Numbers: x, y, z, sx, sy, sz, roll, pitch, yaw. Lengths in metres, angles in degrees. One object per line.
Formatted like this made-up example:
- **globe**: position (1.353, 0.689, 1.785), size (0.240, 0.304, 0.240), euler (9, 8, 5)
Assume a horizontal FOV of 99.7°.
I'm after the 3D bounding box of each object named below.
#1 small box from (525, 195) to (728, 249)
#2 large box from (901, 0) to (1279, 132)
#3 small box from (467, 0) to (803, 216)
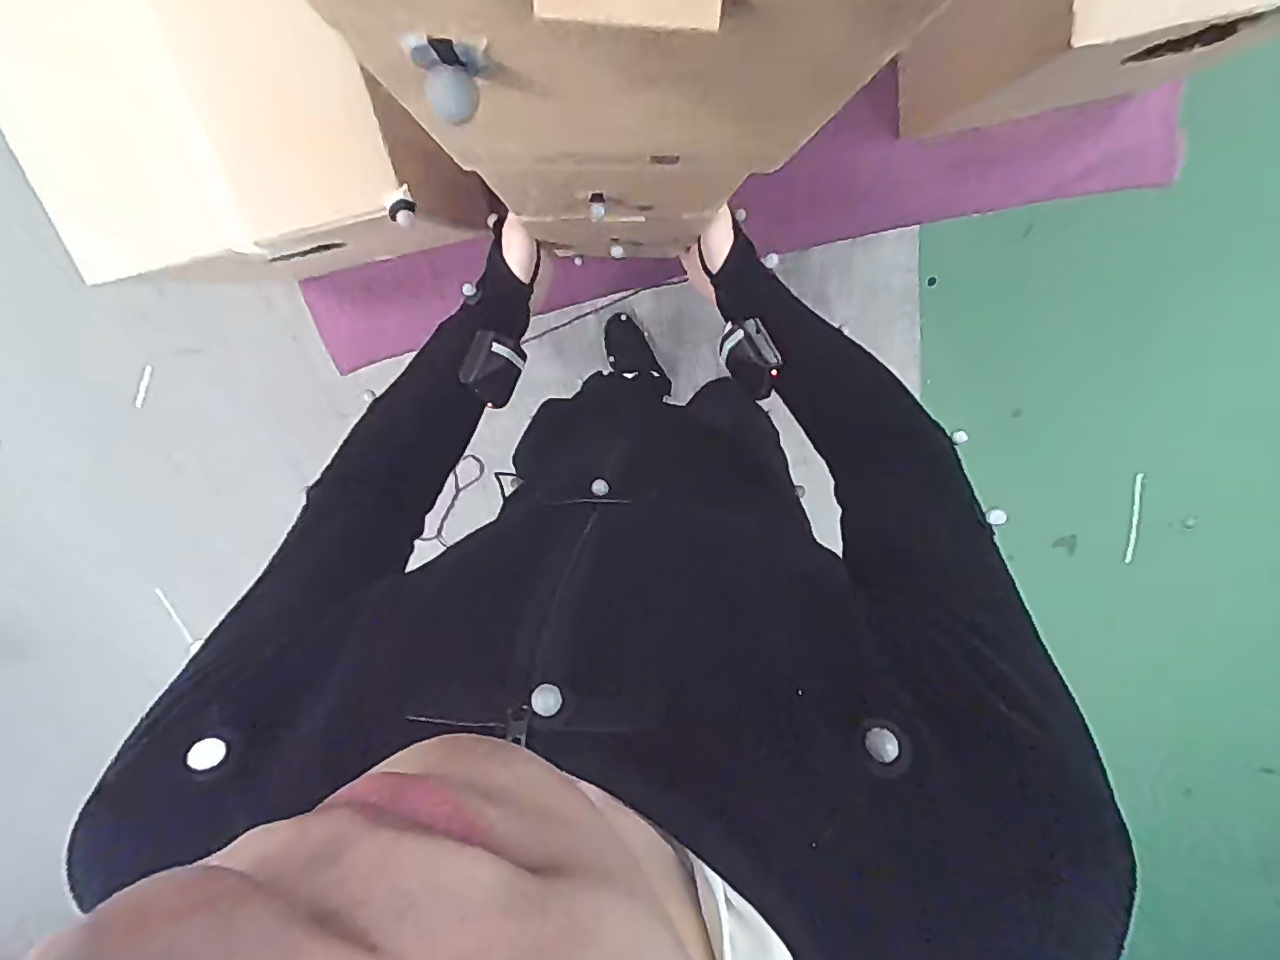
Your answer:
- **small box**: position (-0.016, -0.315, 0.487), size (0.168, 0.176, 0.179), euler (-3, 107, -2)
- **large box**: position (0.454, -0.610, 0.492), size (0.320, 0.320, 0.408), euler (-11, 111, 5)
- **small box**: position (-0.008, -0.274, 0.330), size (0.168, 0.176, 0.179), euler (-3, 107, -3)
